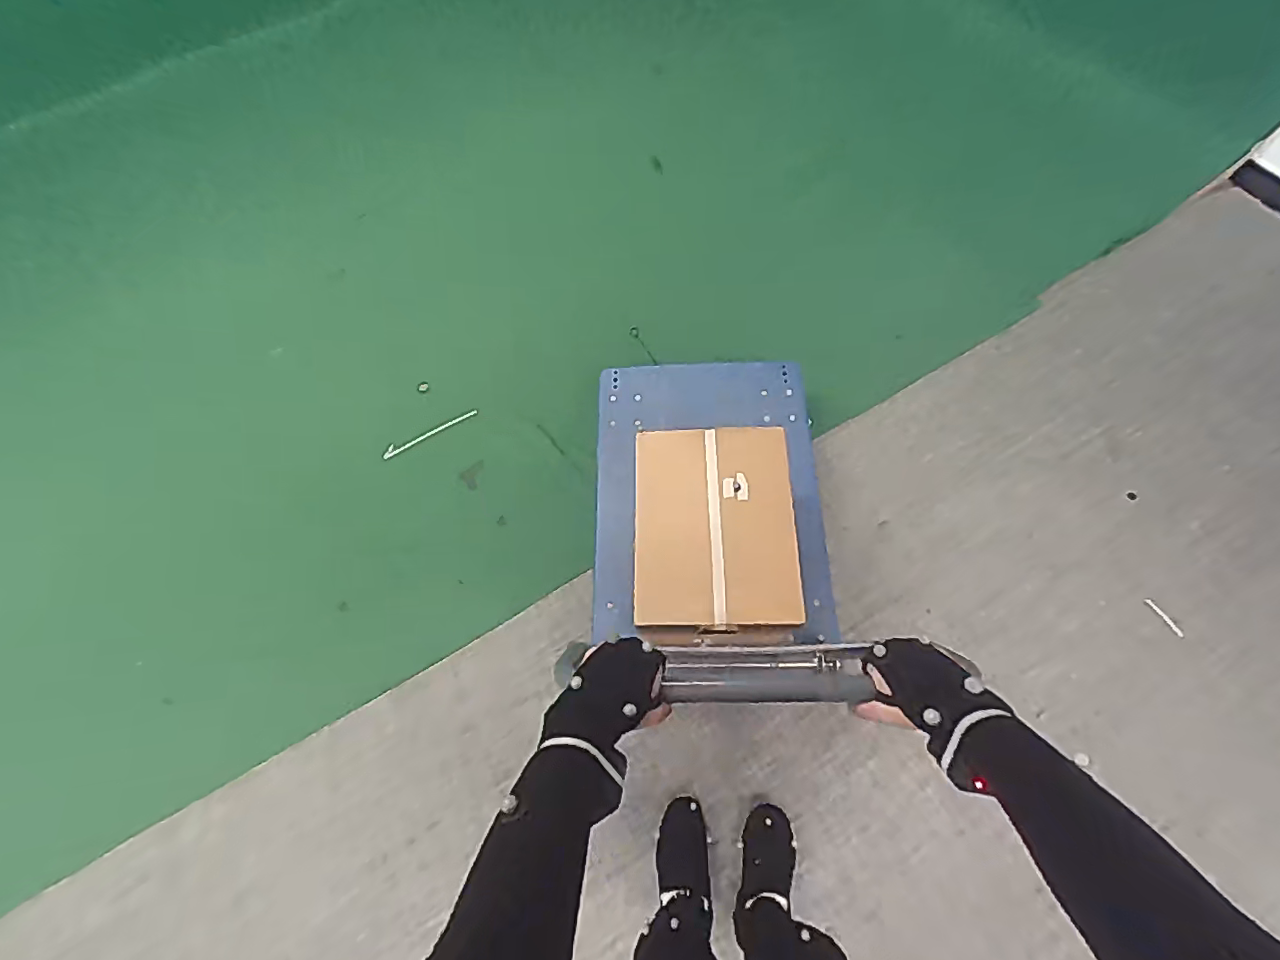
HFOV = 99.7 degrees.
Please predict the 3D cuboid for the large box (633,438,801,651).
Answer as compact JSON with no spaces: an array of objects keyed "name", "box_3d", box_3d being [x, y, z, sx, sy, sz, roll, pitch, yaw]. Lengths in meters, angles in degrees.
[{"name":"large box","box_3d":[0.155,0.157,1.215,0.320,0.320,0.408,-1,66,4]}]
